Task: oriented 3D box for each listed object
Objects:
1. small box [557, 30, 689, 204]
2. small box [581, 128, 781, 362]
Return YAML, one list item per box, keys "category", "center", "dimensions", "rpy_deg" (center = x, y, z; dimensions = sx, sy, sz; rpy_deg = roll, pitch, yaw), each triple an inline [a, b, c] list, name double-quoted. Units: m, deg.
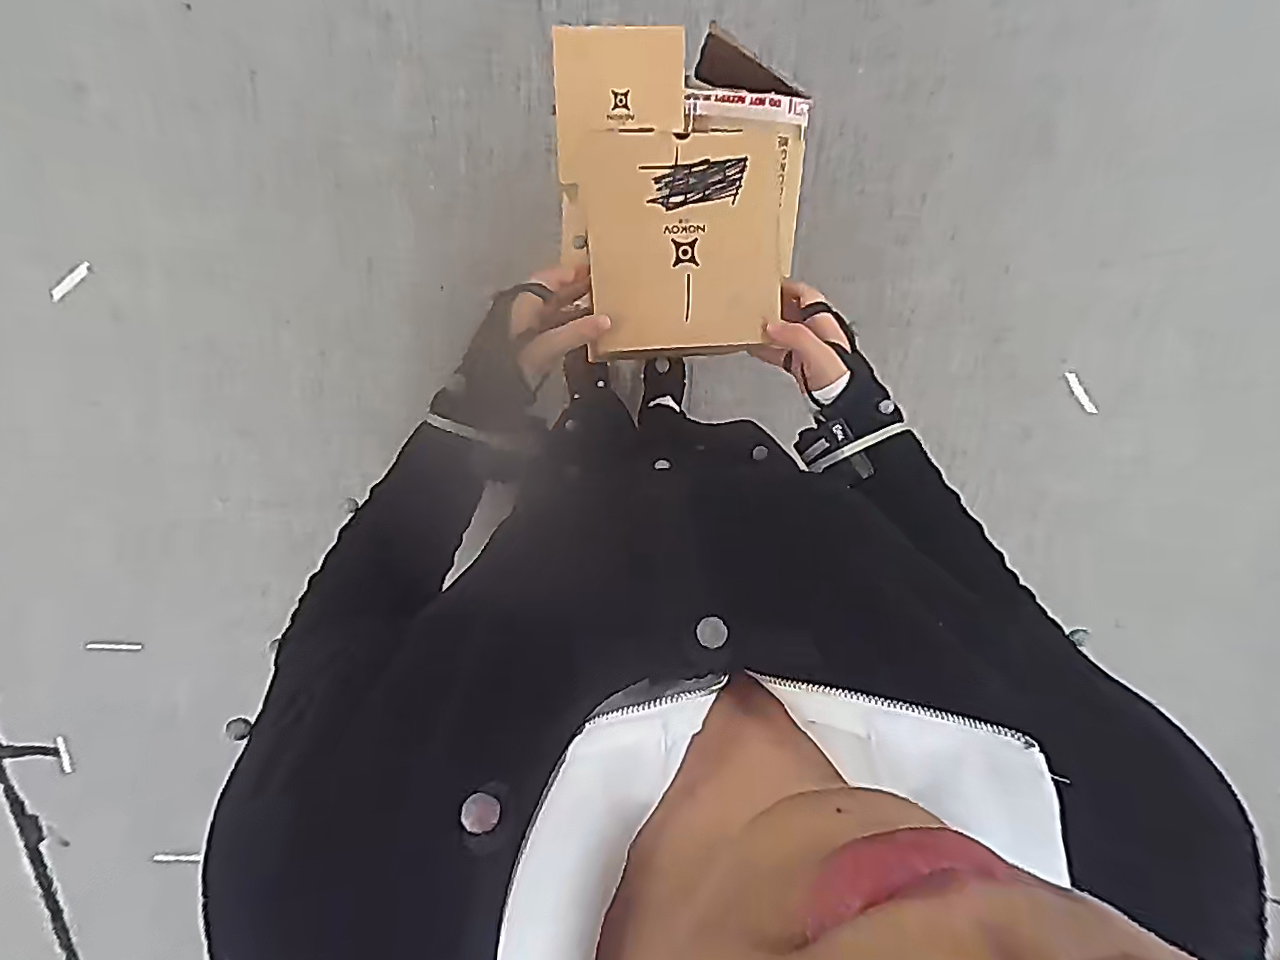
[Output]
- category: "small box"
  center: [-0.023, -0.493, 0.764]
  dimensions: [0.168, 0.176, 0.179]
  rpy_deg: [0, 109, 0]
- category: "small box"
  center: [0.030, -0.213, 0.533]
  dimensions: [0.168, 0.176, 0.179]
  rpy_deg: [-5, 100, -6]
